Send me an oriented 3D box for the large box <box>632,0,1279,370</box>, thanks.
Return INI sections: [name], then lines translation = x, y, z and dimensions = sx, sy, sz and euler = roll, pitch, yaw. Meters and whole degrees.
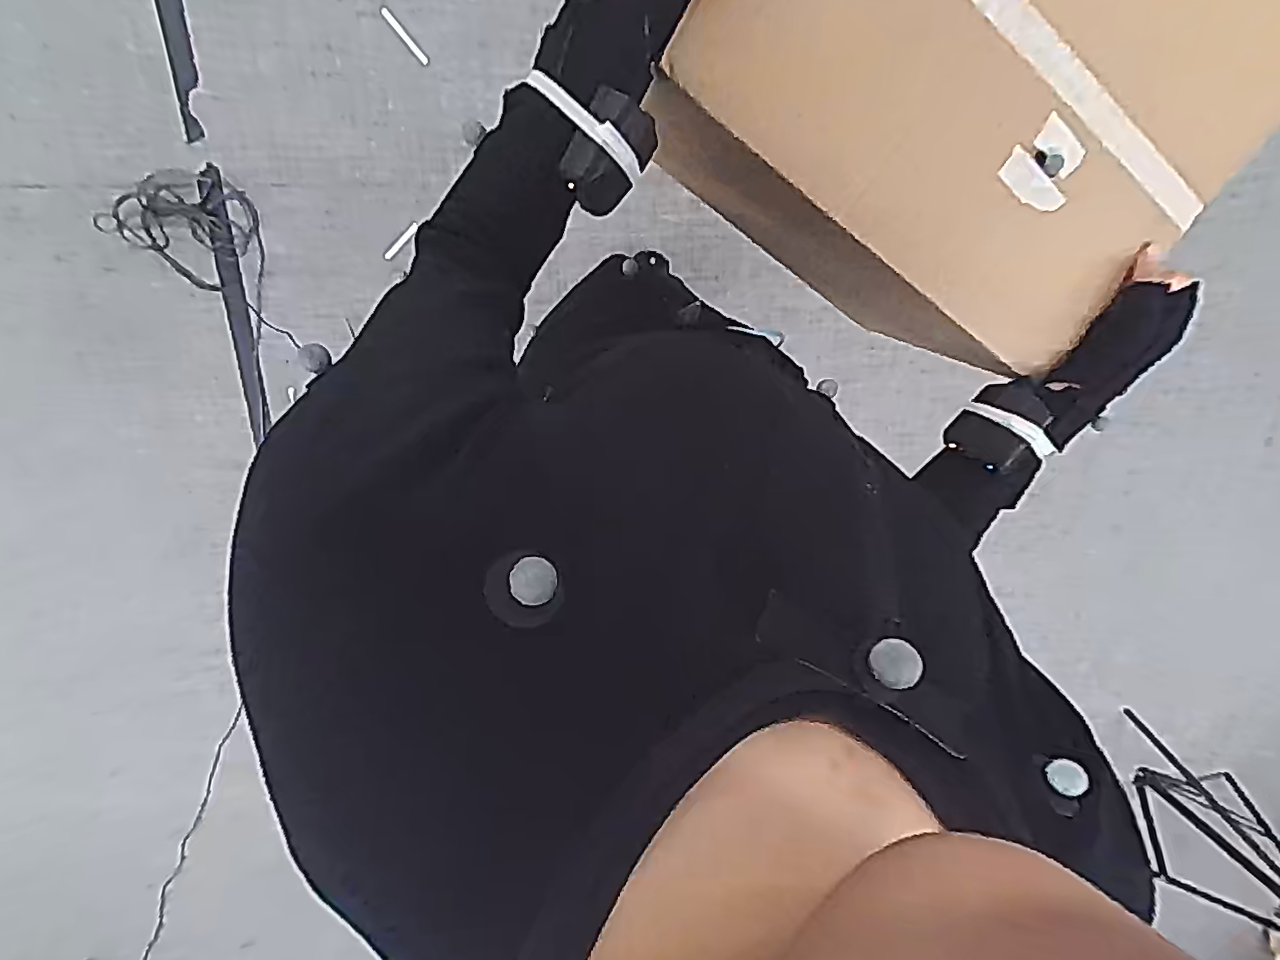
[large box]
translation = 0.249, -0.368, 0.508
dimensions = 0.408, 0.320, 0.320
euler = 30, 110, -19
